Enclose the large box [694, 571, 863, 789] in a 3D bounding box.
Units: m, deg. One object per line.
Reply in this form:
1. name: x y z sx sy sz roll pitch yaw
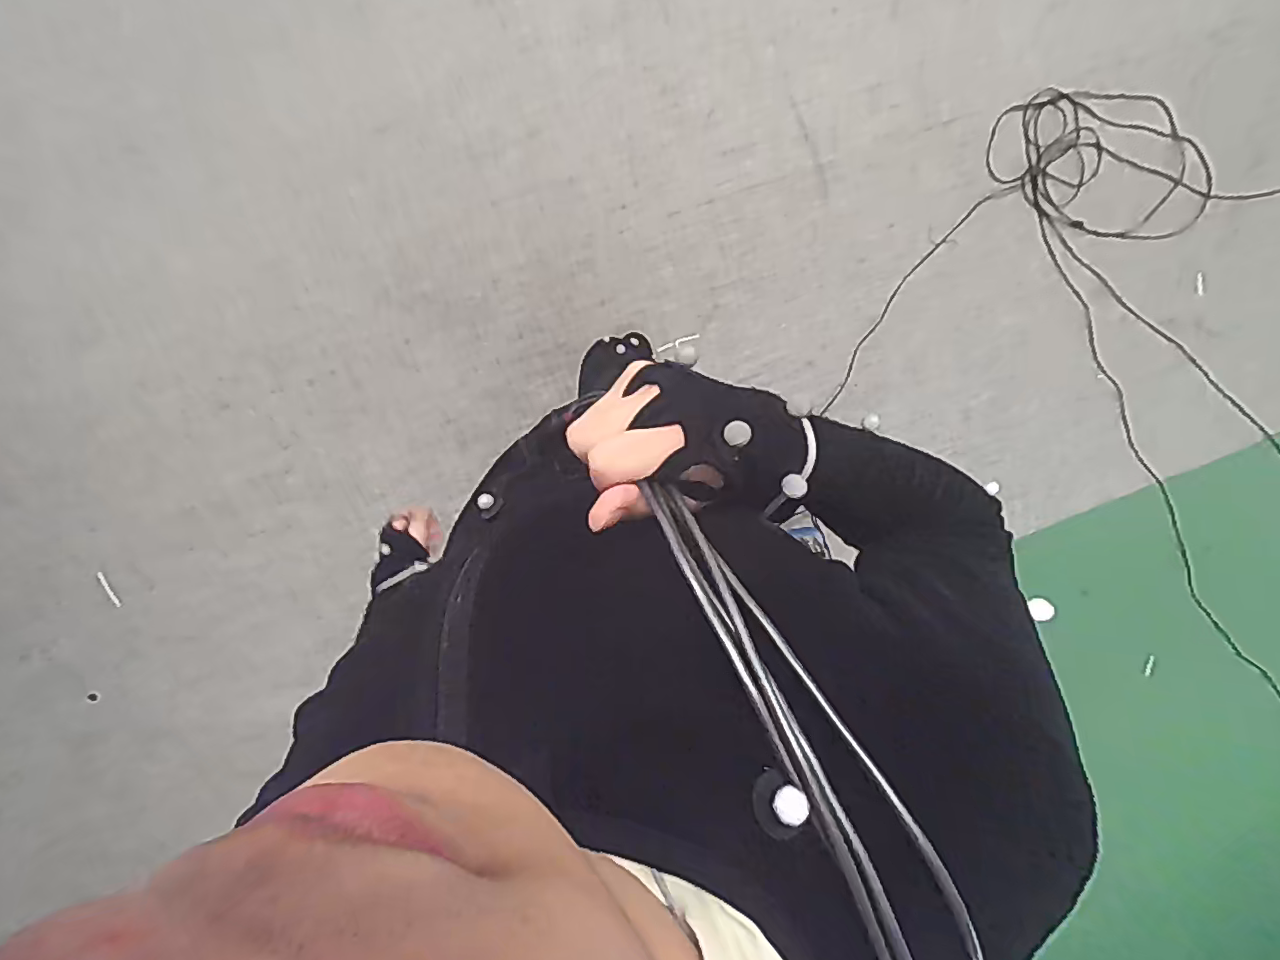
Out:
1. large box: 0.352 0.505 1.435 0.320 0.320 0.408 -11 102 -5
